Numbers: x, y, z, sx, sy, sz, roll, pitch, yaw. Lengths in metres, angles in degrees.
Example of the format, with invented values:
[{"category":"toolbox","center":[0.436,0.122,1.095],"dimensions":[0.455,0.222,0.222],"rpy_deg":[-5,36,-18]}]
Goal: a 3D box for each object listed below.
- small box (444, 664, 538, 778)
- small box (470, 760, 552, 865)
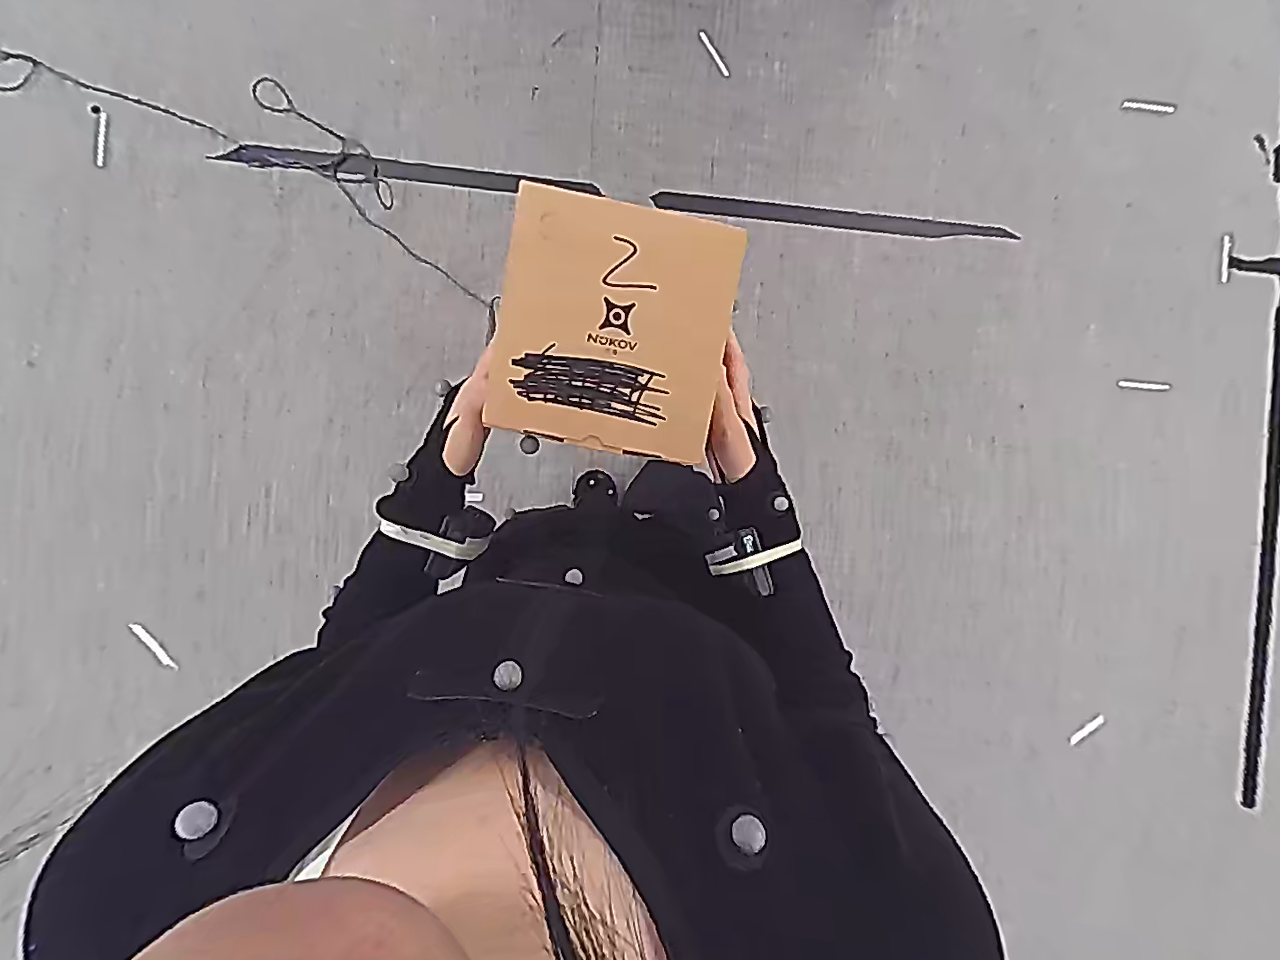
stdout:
[{"category":"small box","center":[-0.328,0.538,1.223],"dimensions":[0.168,0.176,0.179],"rpy_deg":[6,89,-4]},{"category":"small box","center":[-0.327,0.847,1.390],"dimensions":[0.179,0.176,0.168],"rpy_deg":[-2,92,-3]}]
